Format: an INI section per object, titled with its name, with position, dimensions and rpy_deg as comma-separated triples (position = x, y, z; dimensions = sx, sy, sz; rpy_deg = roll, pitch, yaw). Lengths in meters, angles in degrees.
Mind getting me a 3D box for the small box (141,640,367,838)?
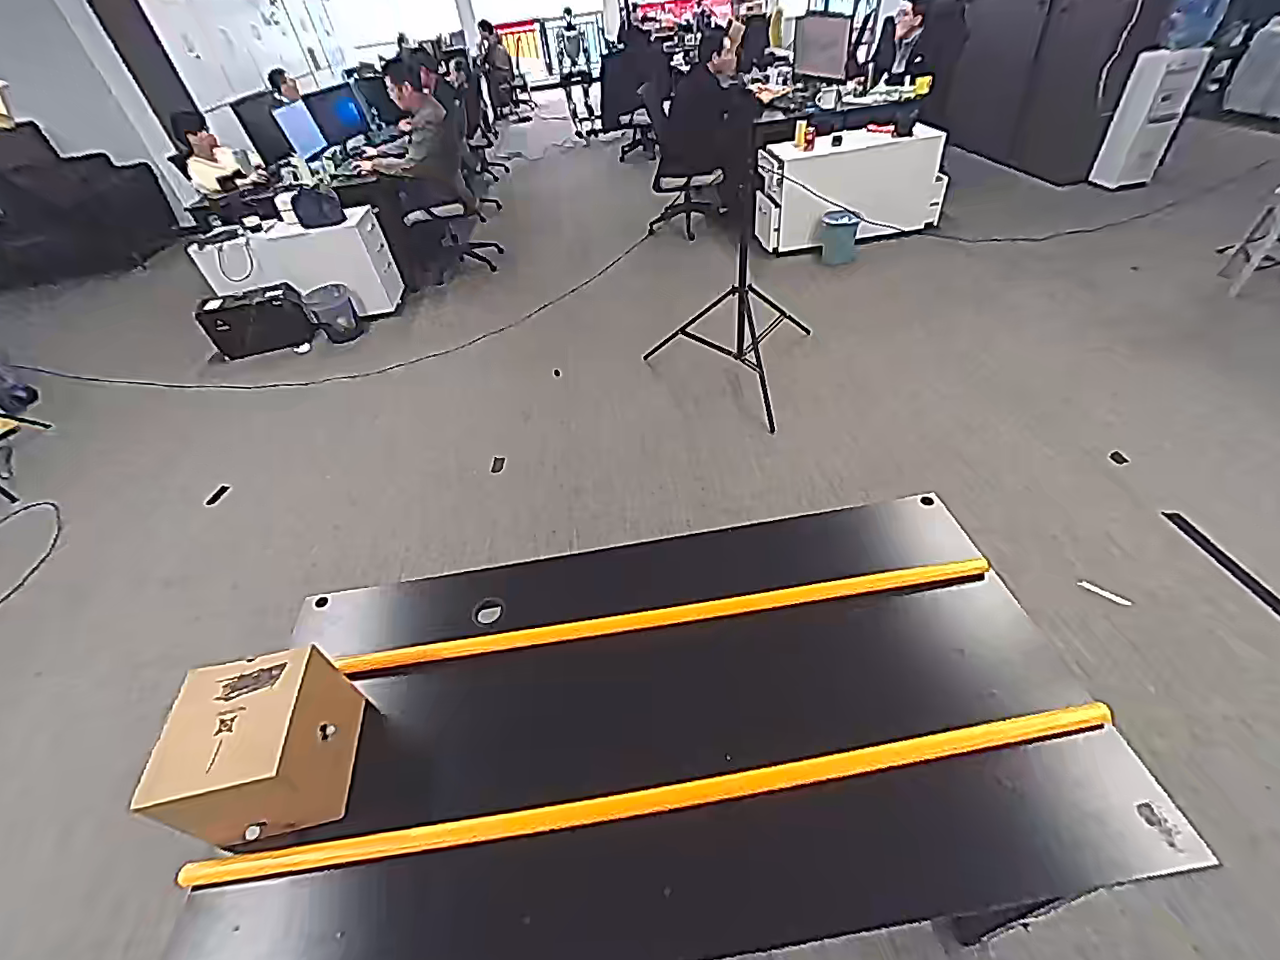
[small box]
position = -0.499, 0.352, 0.737
dimensions = 0.168, 0.176, 0.179
rpy_deg = -12, 44, -4
